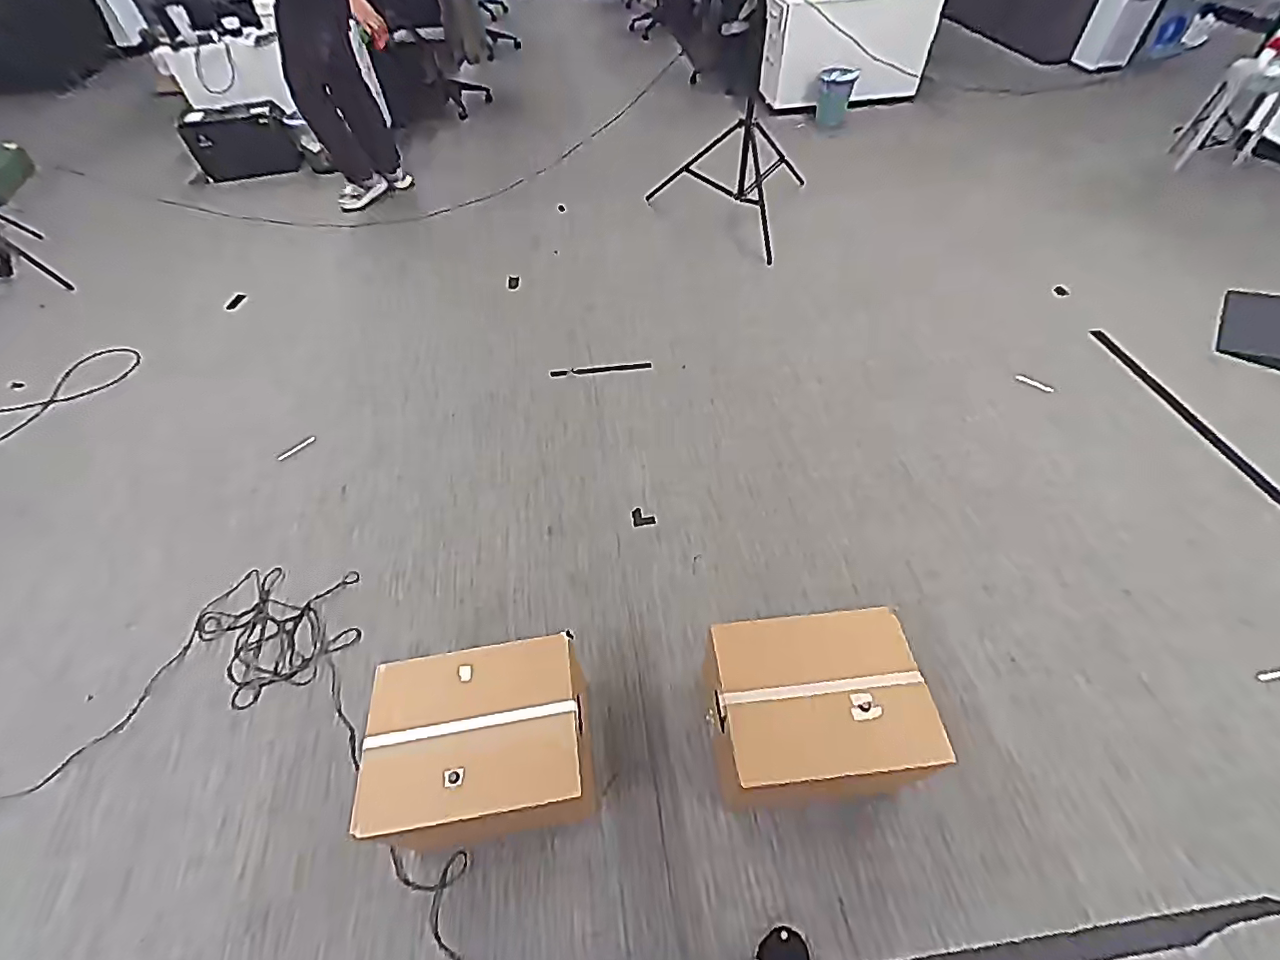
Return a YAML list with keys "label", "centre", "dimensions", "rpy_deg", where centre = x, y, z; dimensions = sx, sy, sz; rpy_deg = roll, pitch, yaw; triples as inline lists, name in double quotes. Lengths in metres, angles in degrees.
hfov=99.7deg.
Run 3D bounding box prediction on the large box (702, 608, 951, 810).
- label: "large box"
  centre: [0.370, 0.511, 1.200]
  dimensions: [0.408, 0.320, 0.320]
  rpy_deg: [-5, 52, -2]
